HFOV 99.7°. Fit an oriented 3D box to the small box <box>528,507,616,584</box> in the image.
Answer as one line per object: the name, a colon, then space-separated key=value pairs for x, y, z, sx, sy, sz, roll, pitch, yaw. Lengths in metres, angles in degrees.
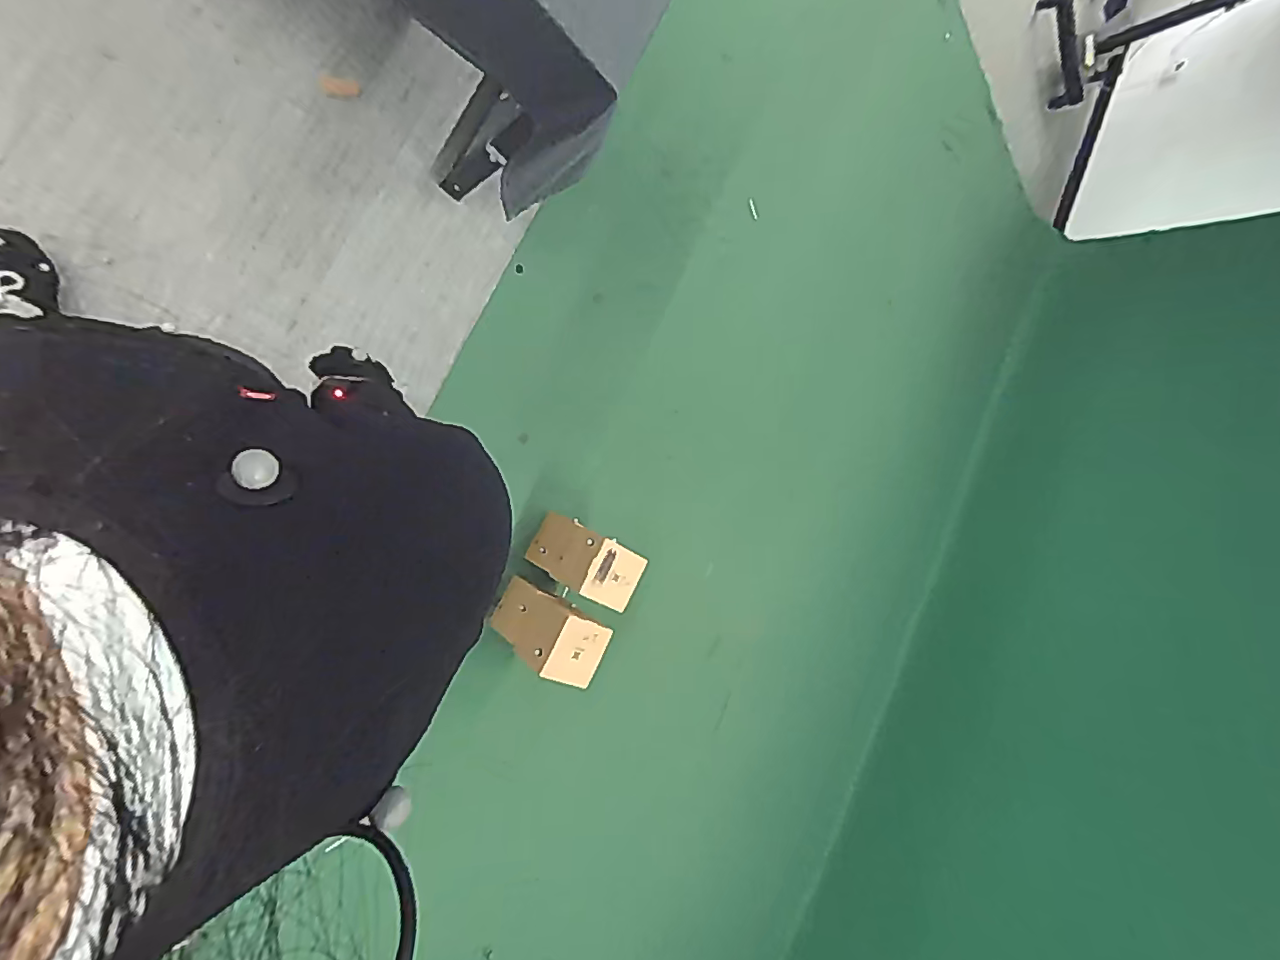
small box: x=-0.216 y=0.198 z=1.676 sx=0.179 sy=0.176 sz=0.168 roll=37 pitch=77 yaw=-36
